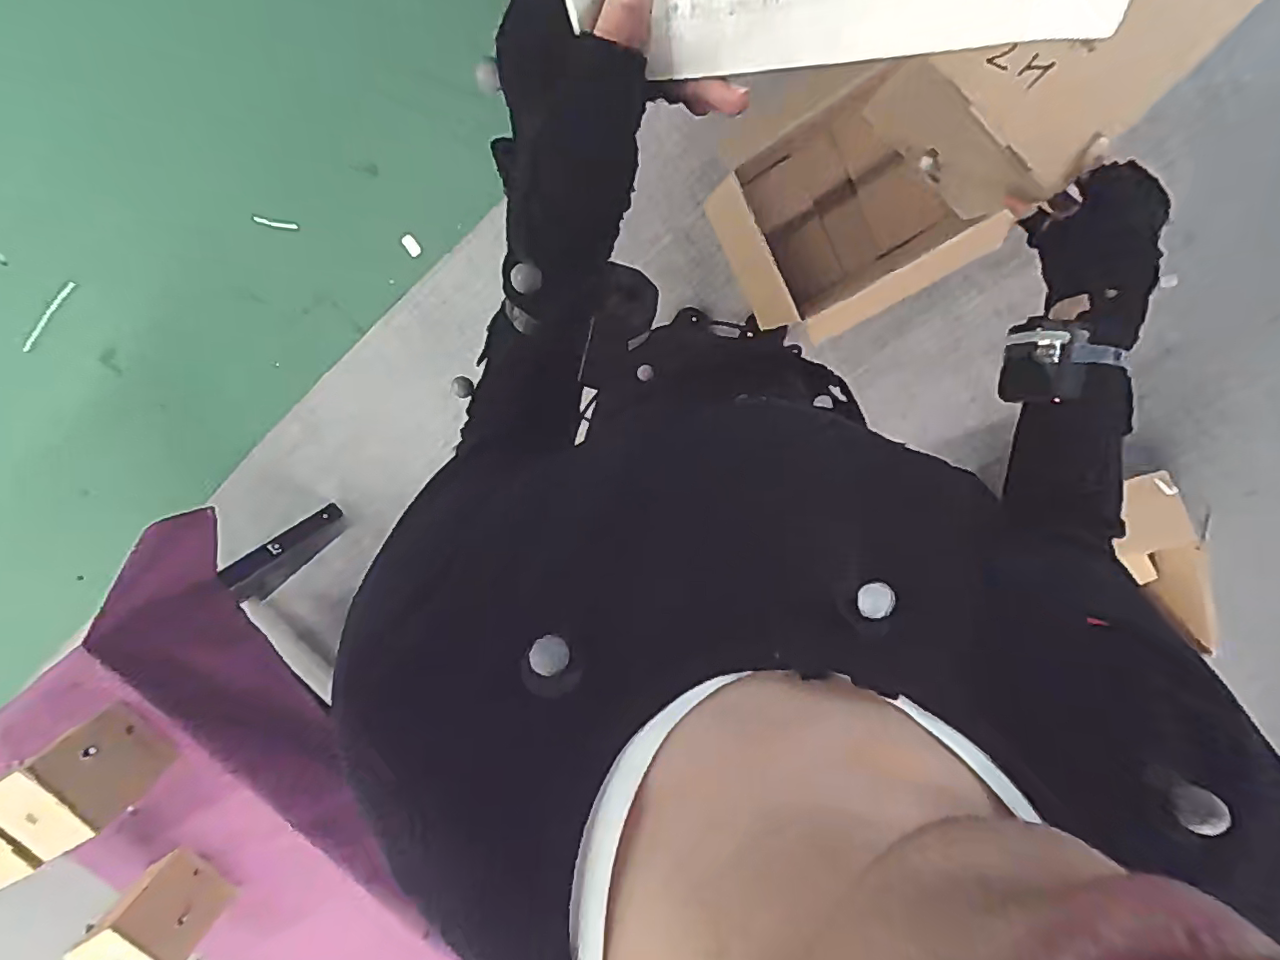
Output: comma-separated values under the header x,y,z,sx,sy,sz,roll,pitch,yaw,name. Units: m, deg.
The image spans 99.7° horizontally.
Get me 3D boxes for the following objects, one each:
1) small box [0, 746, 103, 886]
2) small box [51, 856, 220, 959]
x,y,z,sx,sy,sz,roll,pitch,yaw,name
-1.212,0.651,1.042,0.179,0.176,0.168,-27,104,15,small box
-1.030,0.928,1.121,0.179,0.176,0.168,-34,102,17,small box
